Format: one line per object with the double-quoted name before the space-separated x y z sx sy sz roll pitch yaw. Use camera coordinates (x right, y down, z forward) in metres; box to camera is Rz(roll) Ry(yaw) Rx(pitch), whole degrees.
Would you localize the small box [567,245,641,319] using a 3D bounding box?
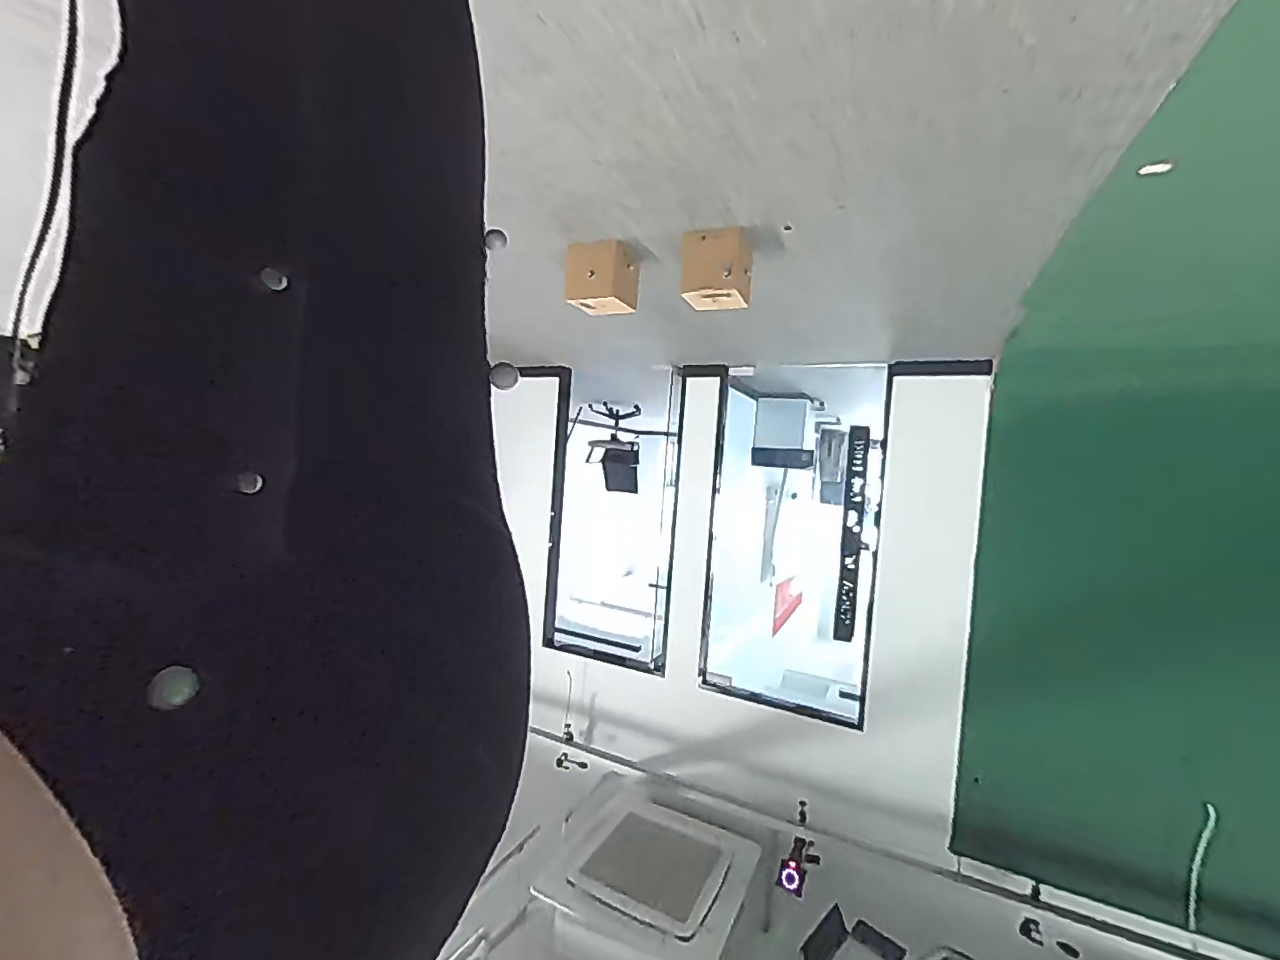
"small box" -0.108 -0.615 1.689 0.179 0.176 0.168 4 -178 26
